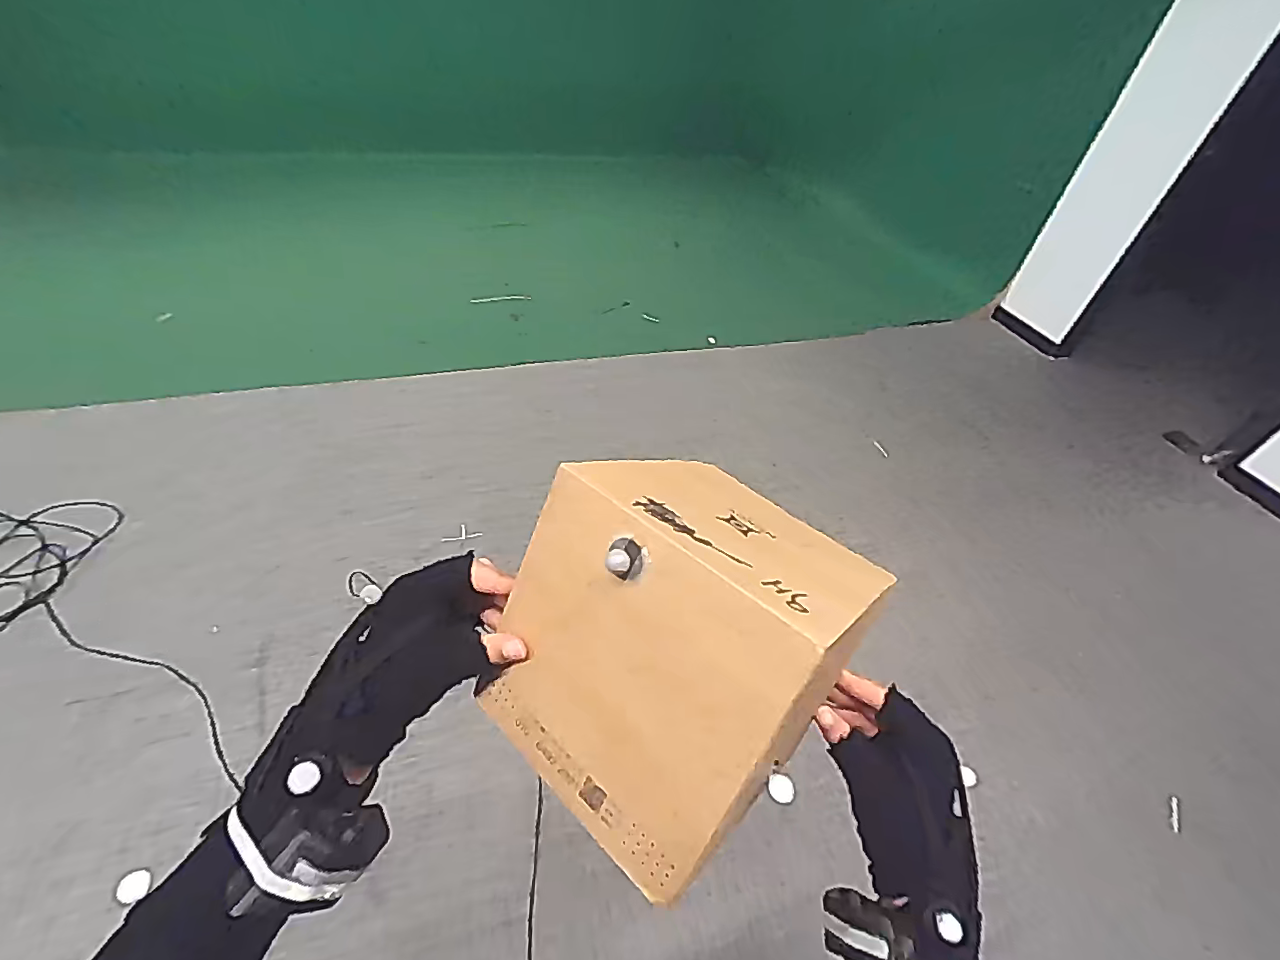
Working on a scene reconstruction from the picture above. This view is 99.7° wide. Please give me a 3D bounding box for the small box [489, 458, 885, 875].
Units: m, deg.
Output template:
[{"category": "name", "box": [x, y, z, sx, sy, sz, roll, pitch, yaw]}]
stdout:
[{"category": "small box", "box": [0.031, 0.099, 0.363, 0.168, 0.176, 0.179, 33, 18, 30]}]
